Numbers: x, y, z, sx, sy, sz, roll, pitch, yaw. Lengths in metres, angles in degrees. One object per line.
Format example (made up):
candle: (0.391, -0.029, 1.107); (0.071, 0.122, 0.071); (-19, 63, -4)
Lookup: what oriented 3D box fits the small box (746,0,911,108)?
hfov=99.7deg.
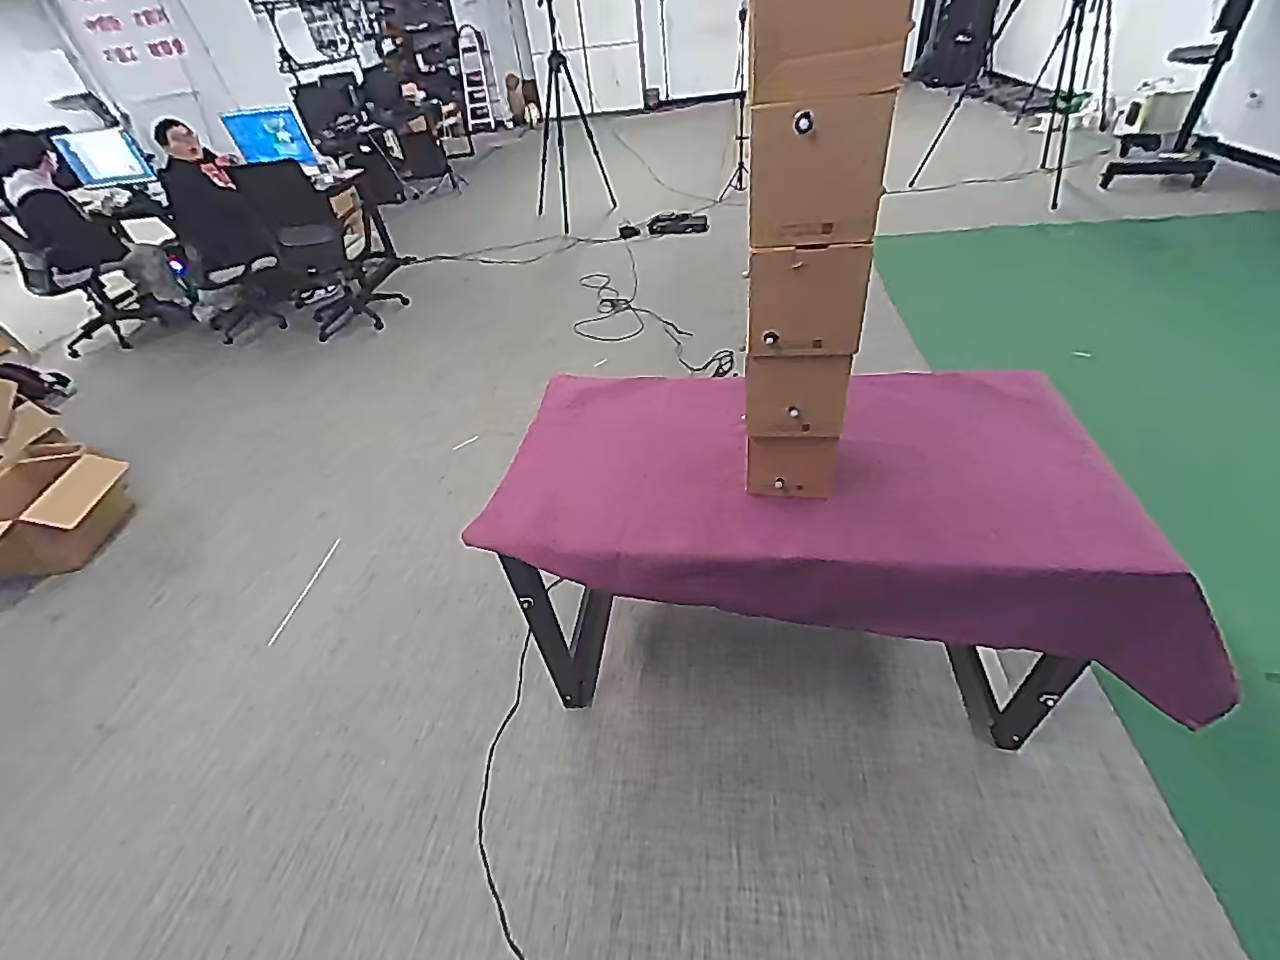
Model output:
small box: (0.222, -0.557, 0.643); (0.179, 0.176, 0.168); (5, 43, 15)

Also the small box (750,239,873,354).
small box: (0.262, -0.311, 0.854); (0.168, 0.176, 0.179); (2, 41, 13)

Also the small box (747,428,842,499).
small box: (0.306, -0.084, 1.087); (0.168, 0.176, 0.179); (3, 43, 14)

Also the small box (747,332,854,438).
small box: (0.279, -0.195, 0.969); (0.168, 0.176, 0.179); (1, 42, 13)

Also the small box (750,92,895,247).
small box: (0.243, -0.436, 0.751); (0.168, 0.176, 0.179); (3, 42, 14)
